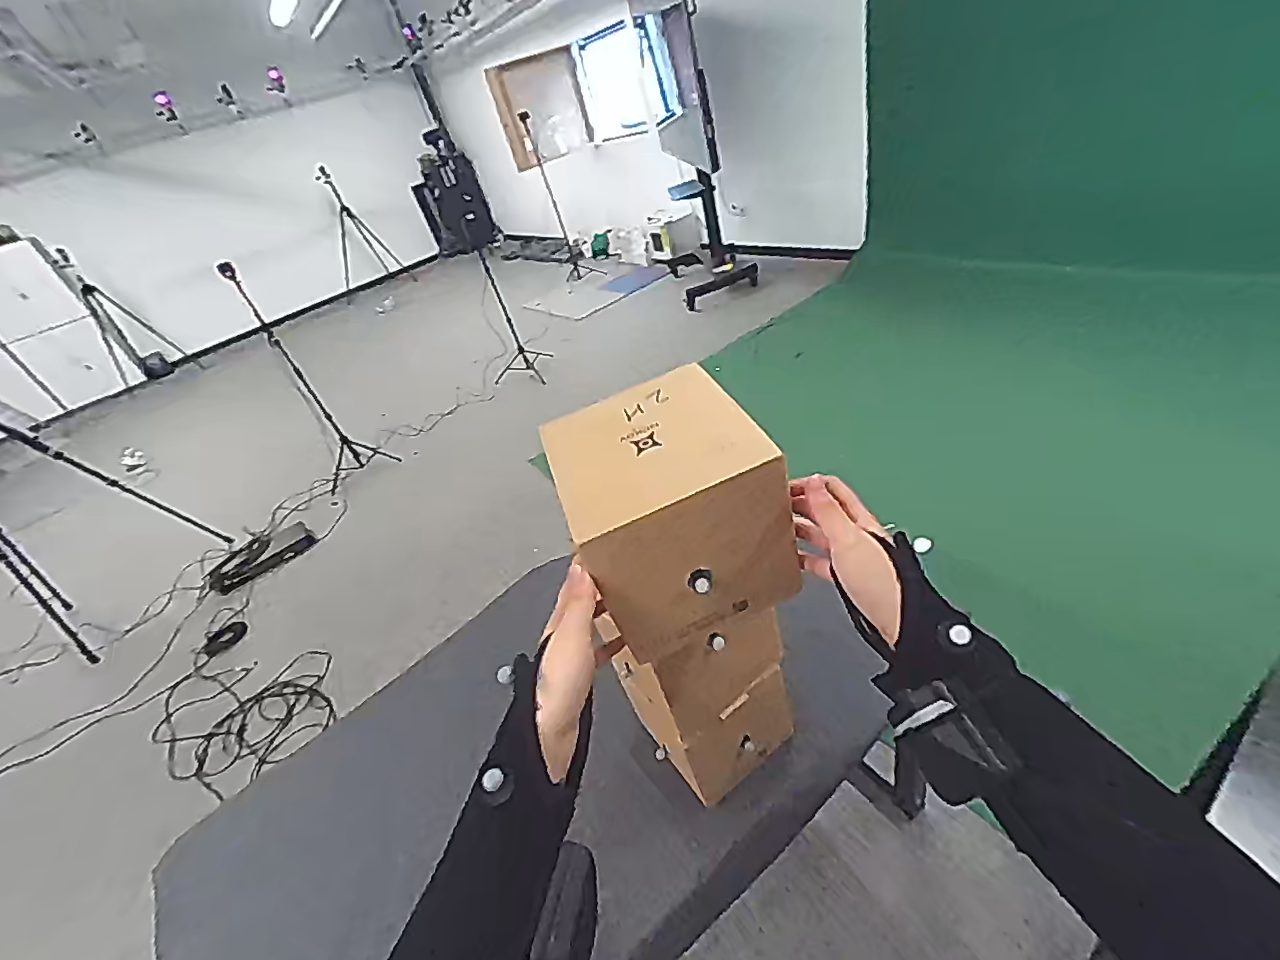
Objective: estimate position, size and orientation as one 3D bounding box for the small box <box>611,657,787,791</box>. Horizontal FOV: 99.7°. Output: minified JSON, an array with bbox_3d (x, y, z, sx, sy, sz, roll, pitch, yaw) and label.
[{"bbox_3d":[0.090,0.309,0.776,0.168,0.176,0.179,-33,37,-18],"label":"small box"}]

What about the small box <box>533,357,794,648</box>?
[{"bbox_3d":[0.022,0.025,0.485,0.168,0.176,0.179,-23,40,-3],"label":"small box"}]

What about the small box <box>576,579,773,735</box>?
[{"bbox_3d":[0.052,0.176,0.688,0.179,0.176,0.168,-35,37,-19],"label":"small box"}]
